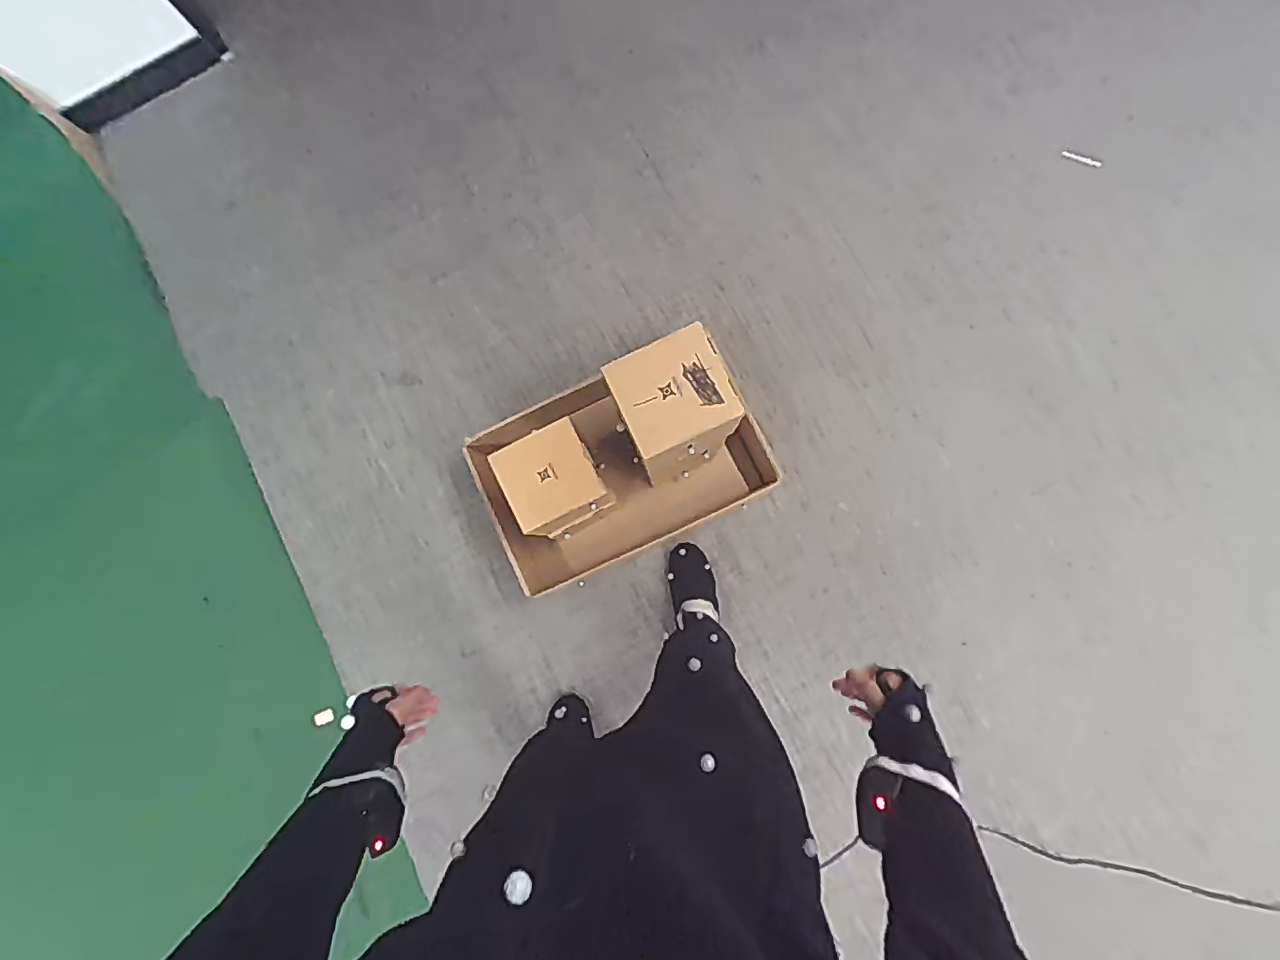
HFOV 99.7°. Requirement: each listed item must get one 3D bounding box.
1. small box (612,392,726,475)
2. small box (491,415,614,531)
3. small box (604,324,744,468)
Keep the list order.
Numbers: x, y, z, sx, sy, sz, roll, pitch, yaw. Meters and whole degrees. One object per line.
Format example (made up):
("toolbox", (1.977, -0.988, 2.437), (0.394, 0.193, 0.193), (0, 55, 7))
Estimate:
("small box", (0.060, -0.118, 1.087), (0.168, 0.176, 0.179), (-25, 82, 1))
("small box", (-0.168, -0.005, 1.091), (0.179, 0.176, 0.168), (-27, 83, -1))
("small box", (0.056, -0.134, 0.924), (0.179, 0.176, 0.168), (-25, 83, 2))
